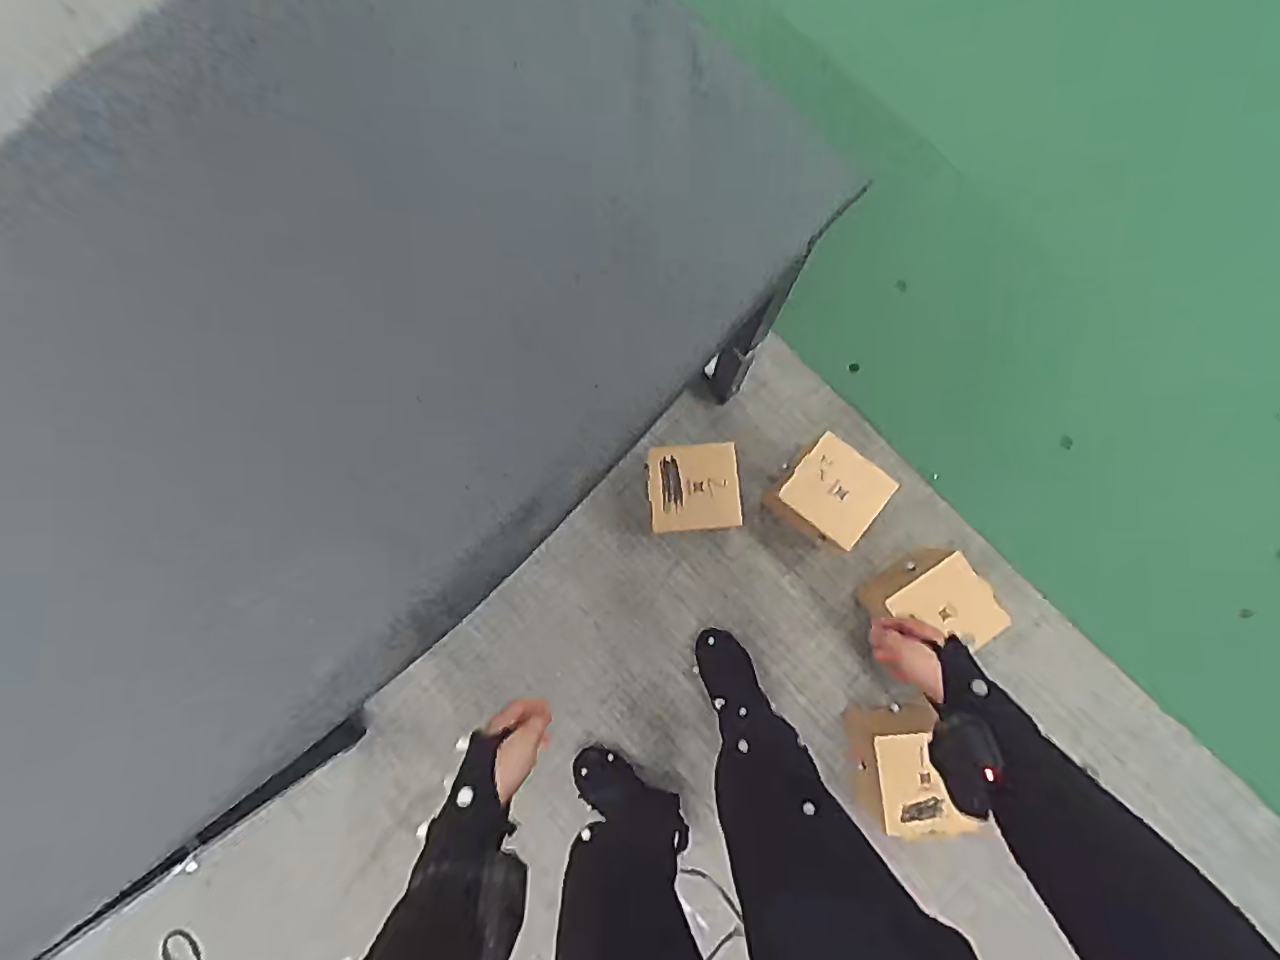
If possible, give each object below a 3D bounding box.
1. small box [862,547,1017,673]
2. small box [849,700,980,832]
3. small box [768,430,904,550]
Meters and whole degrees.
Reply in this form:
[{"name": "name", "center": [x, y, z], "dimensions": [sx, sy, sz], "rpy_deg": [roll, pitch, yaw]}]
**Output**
[{"name": "small box", "center": [0.581, 0.247, 1.077], "dimensions": [0.179, 0.176, 0.168], "rpy_deg": [-34, 85, 0]}, {"name": "small box", "center": [0.524, 0.549, 1.054], "dimensions": [0.168, 0.176, 0.179], "rpy_deg": [-5, 84, 2]}, {"name": "small box", "center": [0.389, 0.023, 1.107], "dimensions": [0.179, 0.176, 0.168], "rpy_deg": [39, 87, 5]}]
